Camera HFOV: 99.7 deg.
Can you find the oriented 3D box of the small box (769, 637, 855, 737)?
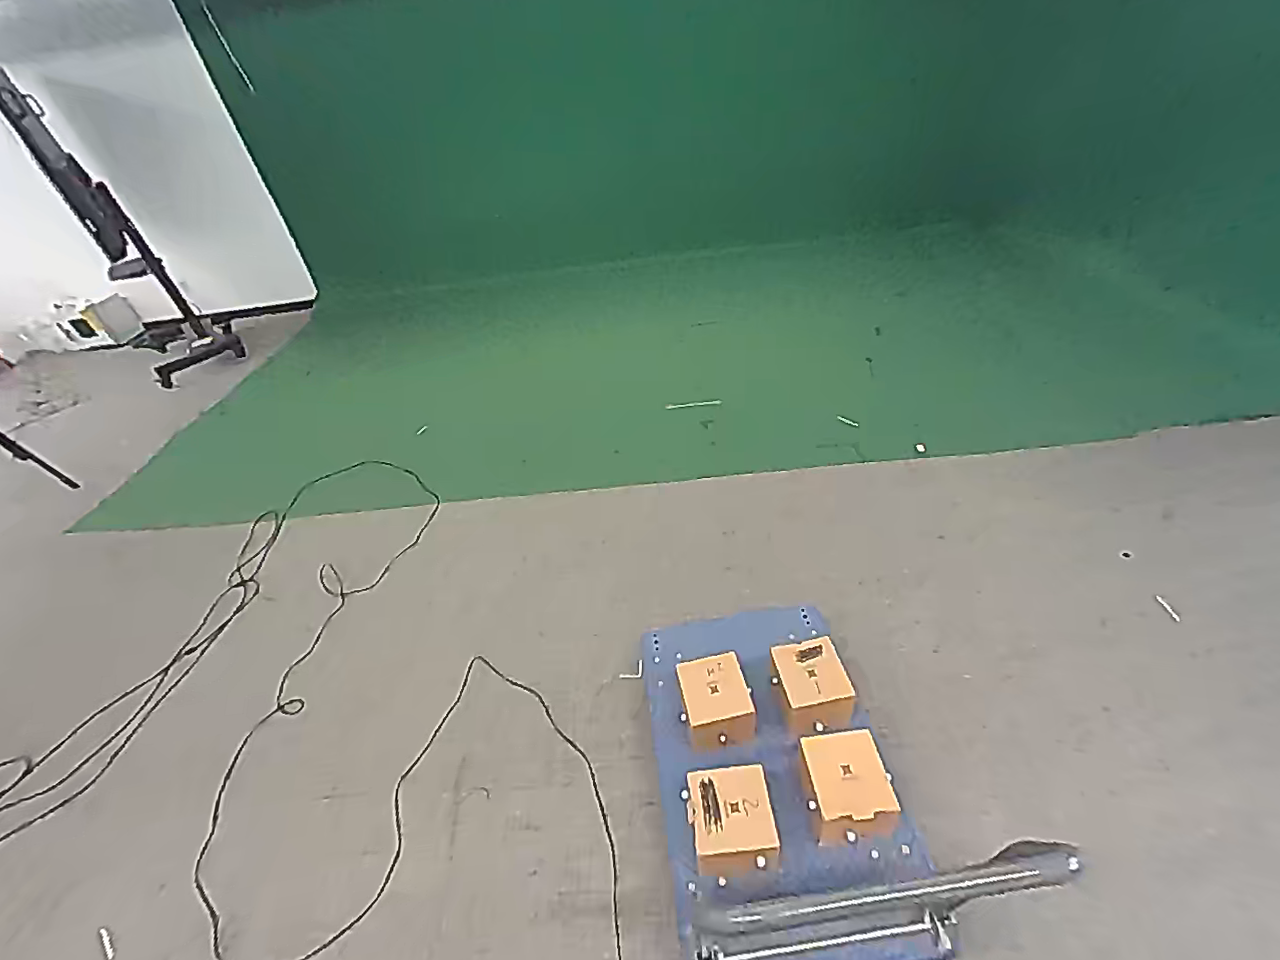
[{"bbox_3d":[0.450,0.553,1.443,0.168,0.176,0.179,-11,41,-1],"label":"small box"}]

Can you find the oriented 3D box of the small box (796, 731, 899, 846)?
[{"bbox_3d":[0.469,0.714,1.254,0.168,0.176,0.179,-8,39,1],"label":"small box"}]

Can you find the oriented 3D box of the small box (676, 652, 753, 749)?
[{"bbox_3d":[0.197,0.594,1.441,0.168,0.176,0.179,-11,40,-3],"label":"small box"}]
